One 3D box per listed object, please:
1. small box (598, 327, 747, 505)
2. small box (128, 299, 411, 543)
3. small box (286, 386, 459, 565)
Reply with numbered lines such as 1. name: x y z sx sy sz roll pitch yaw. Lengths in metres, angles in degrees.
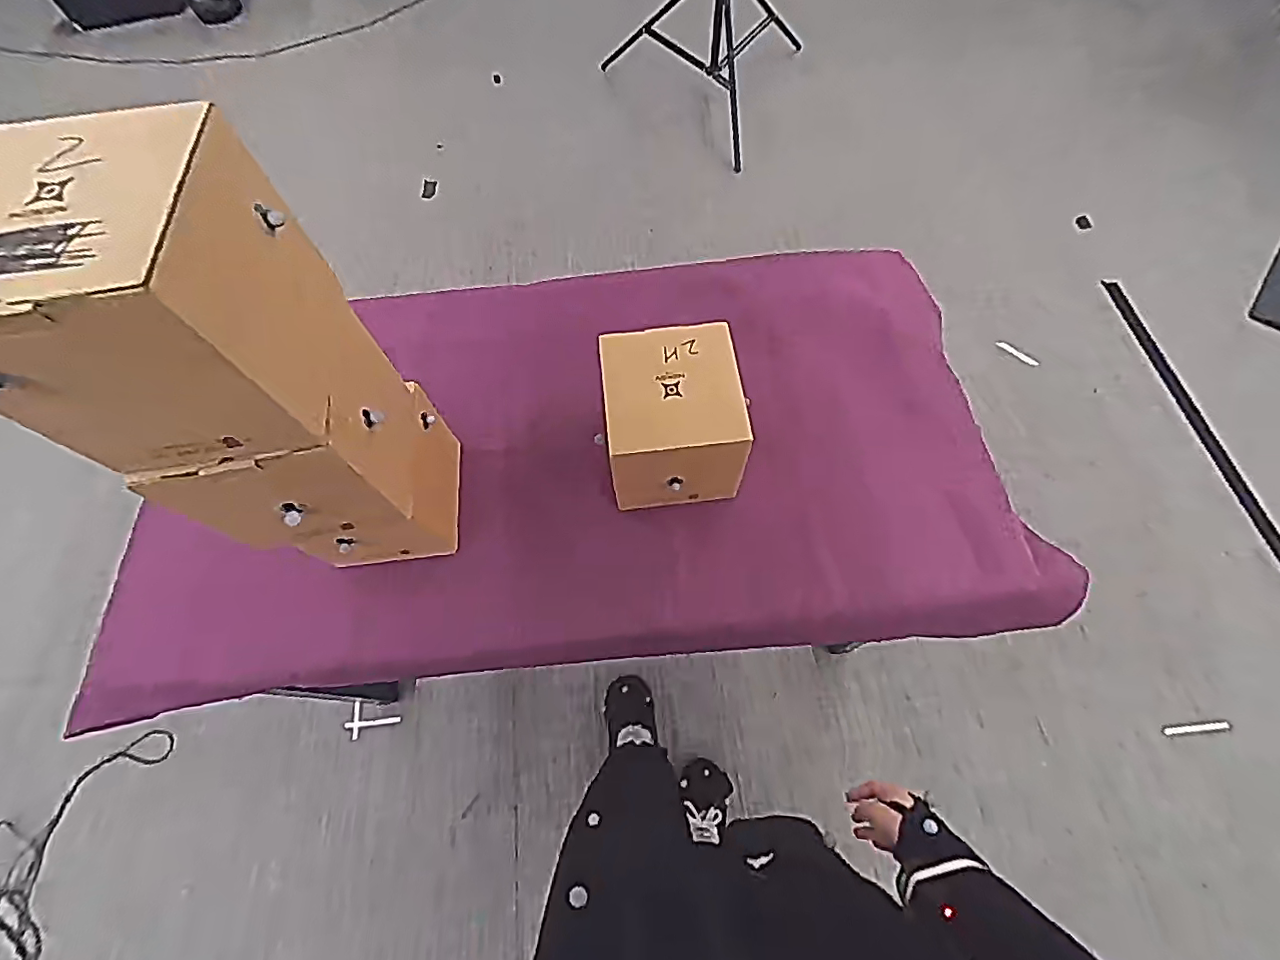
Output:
1. small box: 0.038 -0.074 0.719 0.168 0.176 0.179 -6 65 -1
2. small box: -0.343 -0.046 0.542 0.168 0.176 0.179 -11 65 -3
3. small box: -0.344 0.004 0.700 0.168 0.176 0.179 -7 65 -1
